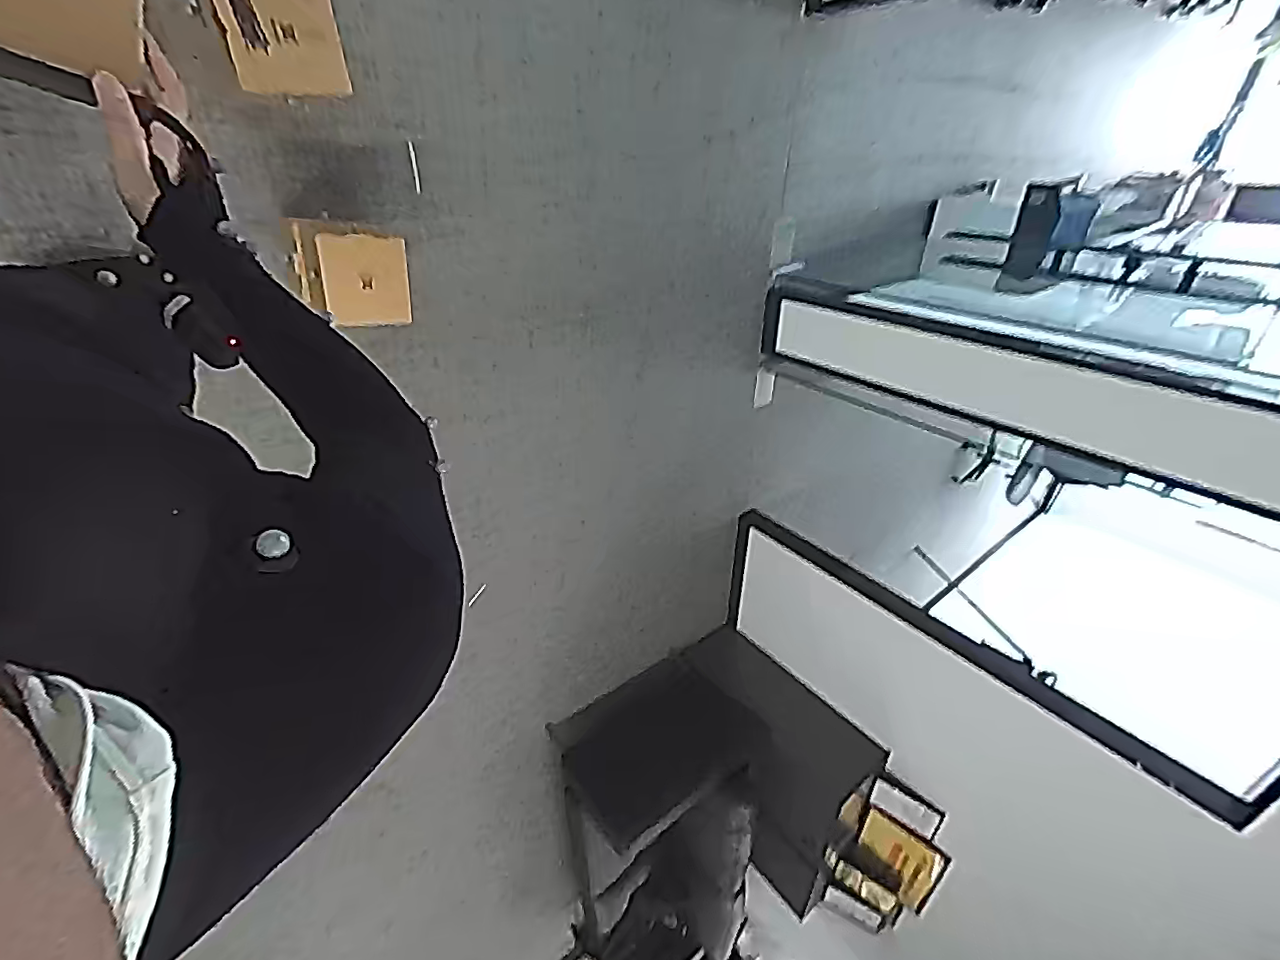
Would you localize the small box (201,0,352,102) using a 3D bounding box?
[{"bbox_3d":[-0.638,-0.768,0.947,0.179,0.176,0.168,-24,129,-31],"label":"small box"}]

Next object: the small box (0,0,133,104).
[{"bbox_3d":[-0.513,-0.416,0.412,0.179,0.176,0.168,-4,113,-47],"label":"small box"}]

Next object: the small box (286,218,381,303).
[{"bbox_3d":[-0.718,-0.515,1.272,0.179,0.176,0.168,-13,123,-35],"label":"small box"}]

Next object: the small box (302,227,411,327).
[{"bbox_3d":[-0.613,-0.441,1.171,0.168,0.176,0.179,-15,124,-36],"label":"small box"}]
